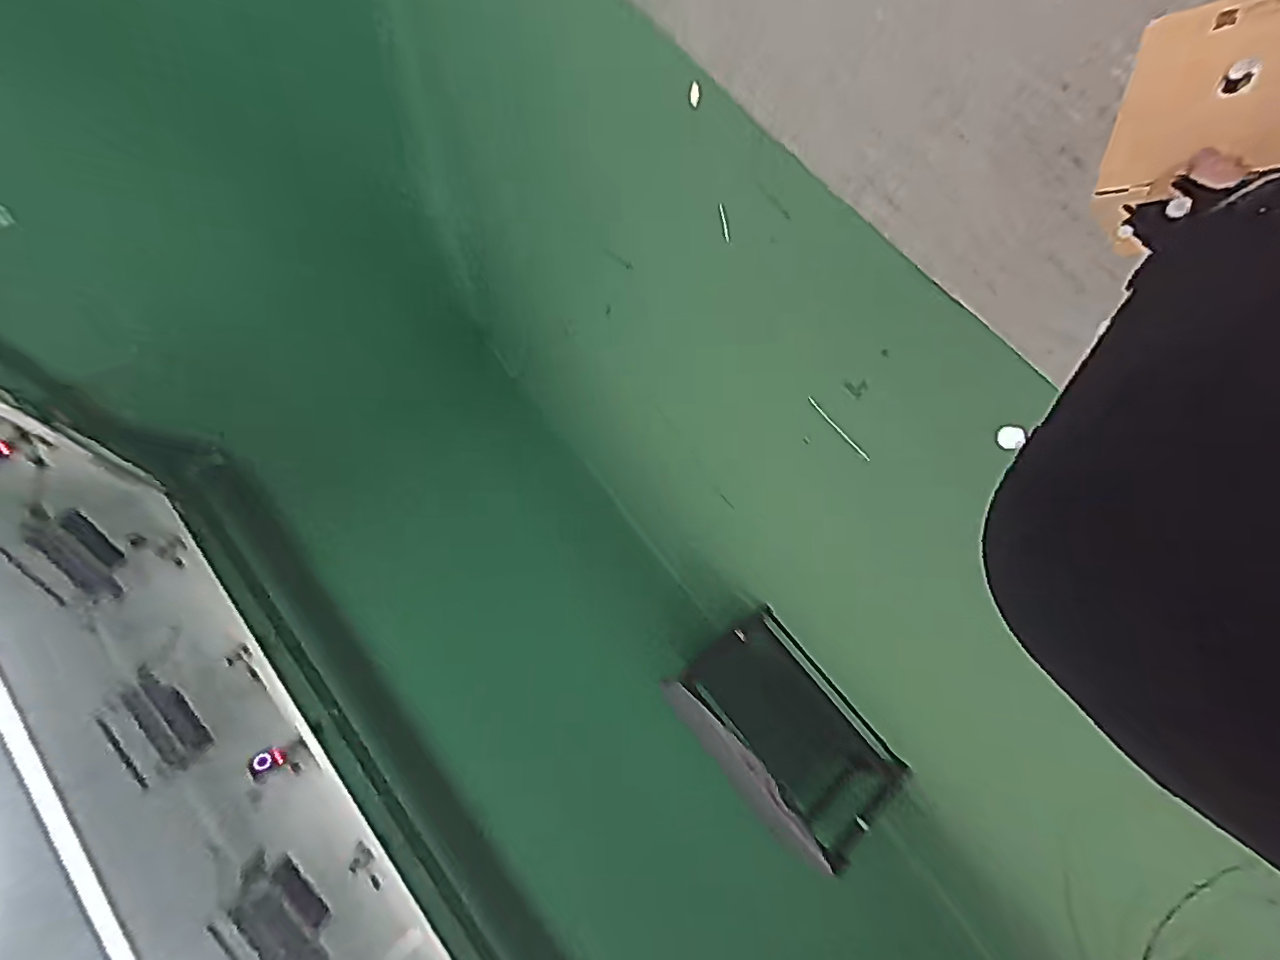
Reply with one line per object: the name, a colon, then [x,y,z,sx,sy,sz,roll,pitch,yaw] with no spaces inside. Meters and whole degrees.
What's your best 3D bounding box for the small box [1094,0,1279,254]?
small box: [0.601,-0.353,0.554,0.168,0.179,0.176,20,99,45]
